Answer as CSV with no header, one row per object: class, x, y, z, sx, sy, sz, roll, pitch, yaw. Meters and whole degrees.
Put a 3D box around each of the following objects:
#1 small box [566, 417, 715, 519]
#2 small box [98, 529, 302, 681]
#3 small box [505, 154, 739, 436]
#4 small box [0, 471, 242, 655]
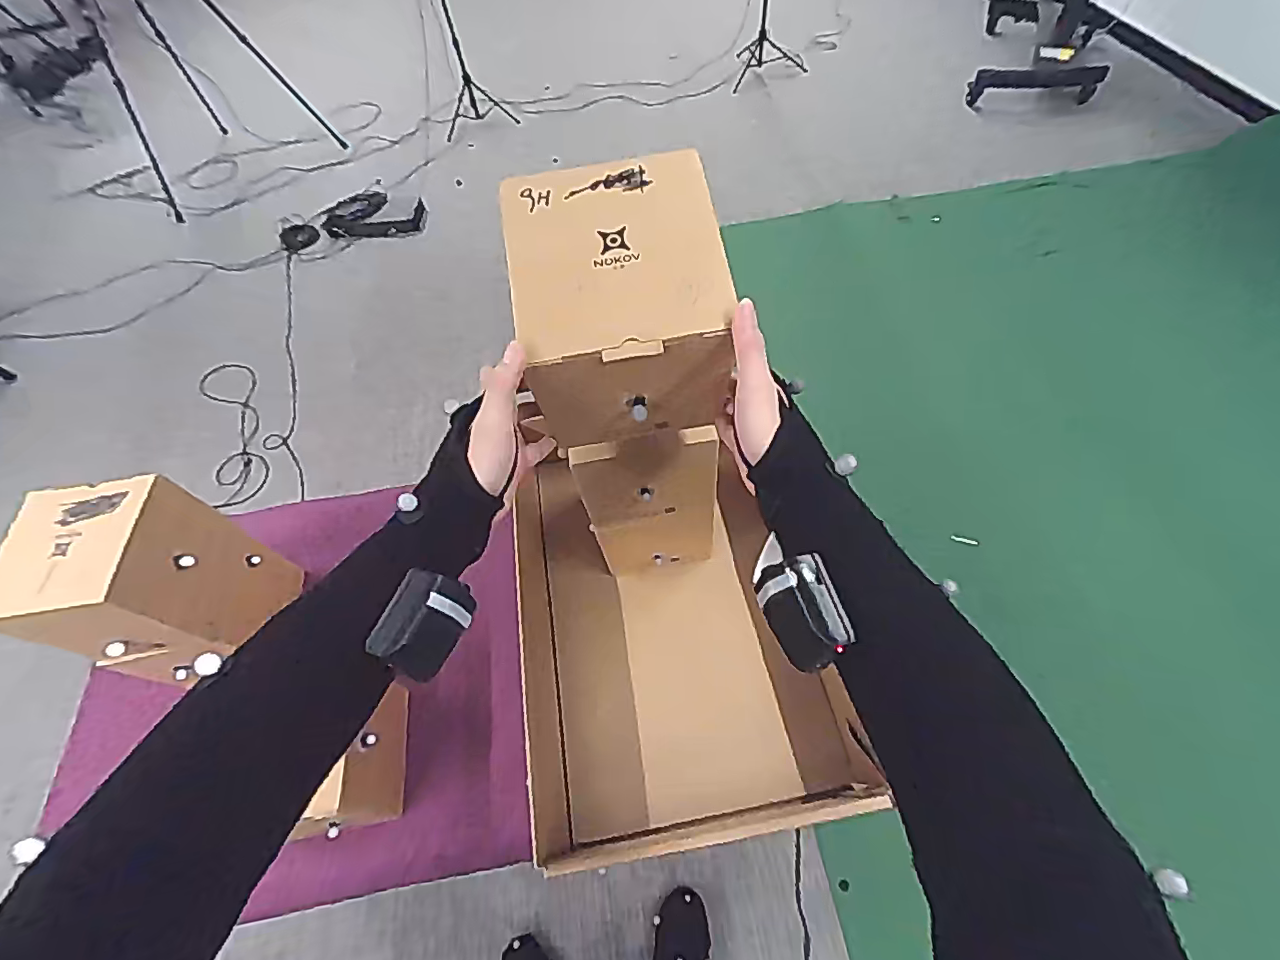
small box,0.000,-0.062,0.695,0.168,0.176,0.179,-9,58,0
small box,-0.667,0.204,0.848,0.168,0.176,0.179,-12,57,-2
small box,-0.015,-0.150,0.494,0.168,0.176,0.179,-9,72,-1
small box,-0.674,0.113,0.711,0.168,0.176,0.179,-8,58,0
